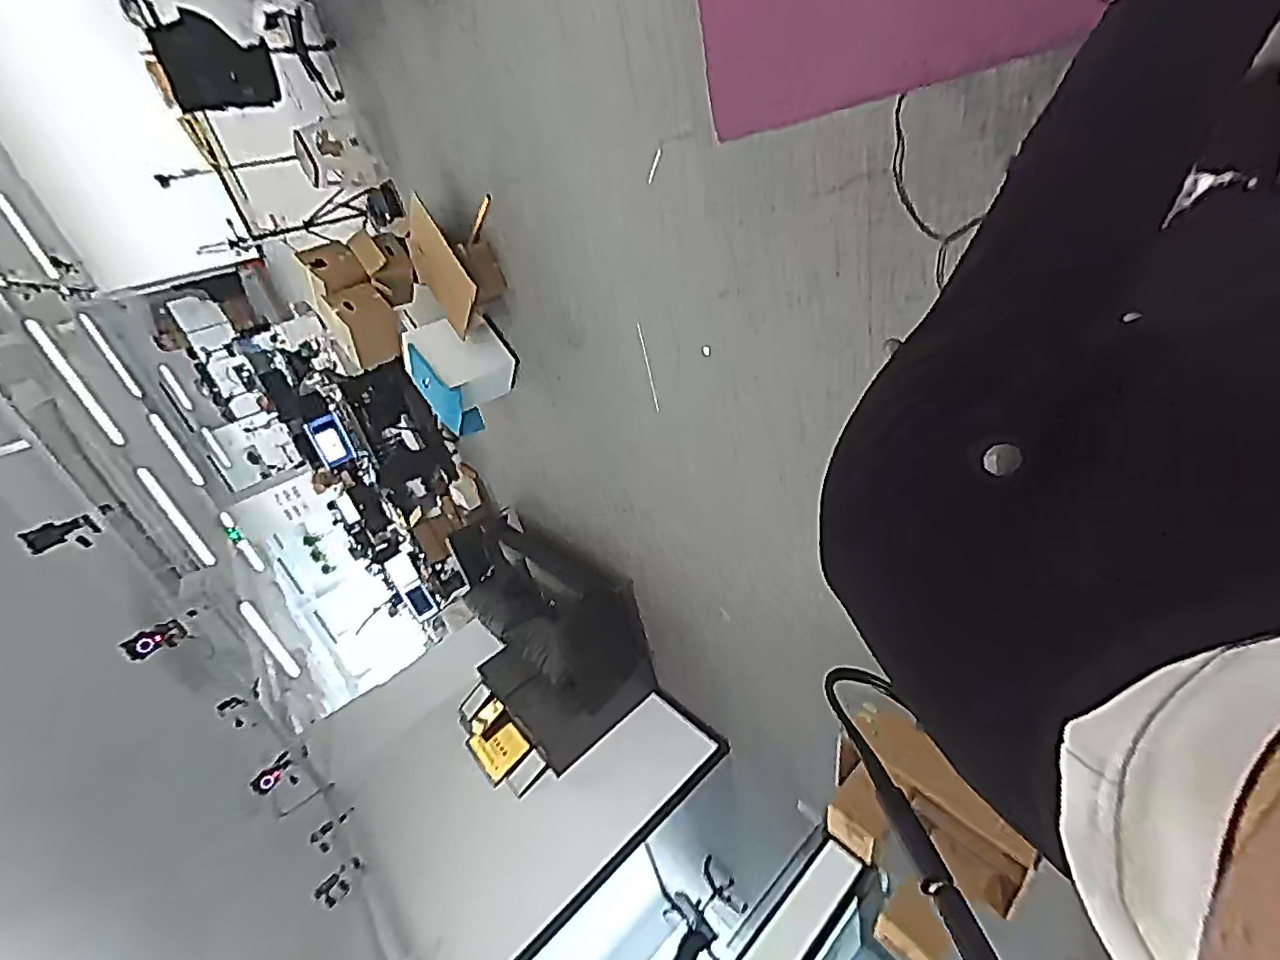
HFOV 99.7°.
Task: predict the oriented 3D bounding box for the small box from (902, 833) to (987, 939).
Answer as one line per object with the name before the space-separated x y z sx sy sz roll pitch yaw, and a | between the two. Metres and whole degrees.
small box | 0.944 1.248 1.674 0.168 0.176 0.179 28 138 44

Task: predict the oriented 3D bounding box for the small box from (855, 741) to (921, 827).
small box | 0.889 1.089 1.948 0.168 0.176 0.179 26 137 43

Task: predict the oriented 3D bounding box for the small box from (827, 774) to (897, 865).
small box | 0.767 1.164 1.868 0.168 0.176 0.179 26 138 44
